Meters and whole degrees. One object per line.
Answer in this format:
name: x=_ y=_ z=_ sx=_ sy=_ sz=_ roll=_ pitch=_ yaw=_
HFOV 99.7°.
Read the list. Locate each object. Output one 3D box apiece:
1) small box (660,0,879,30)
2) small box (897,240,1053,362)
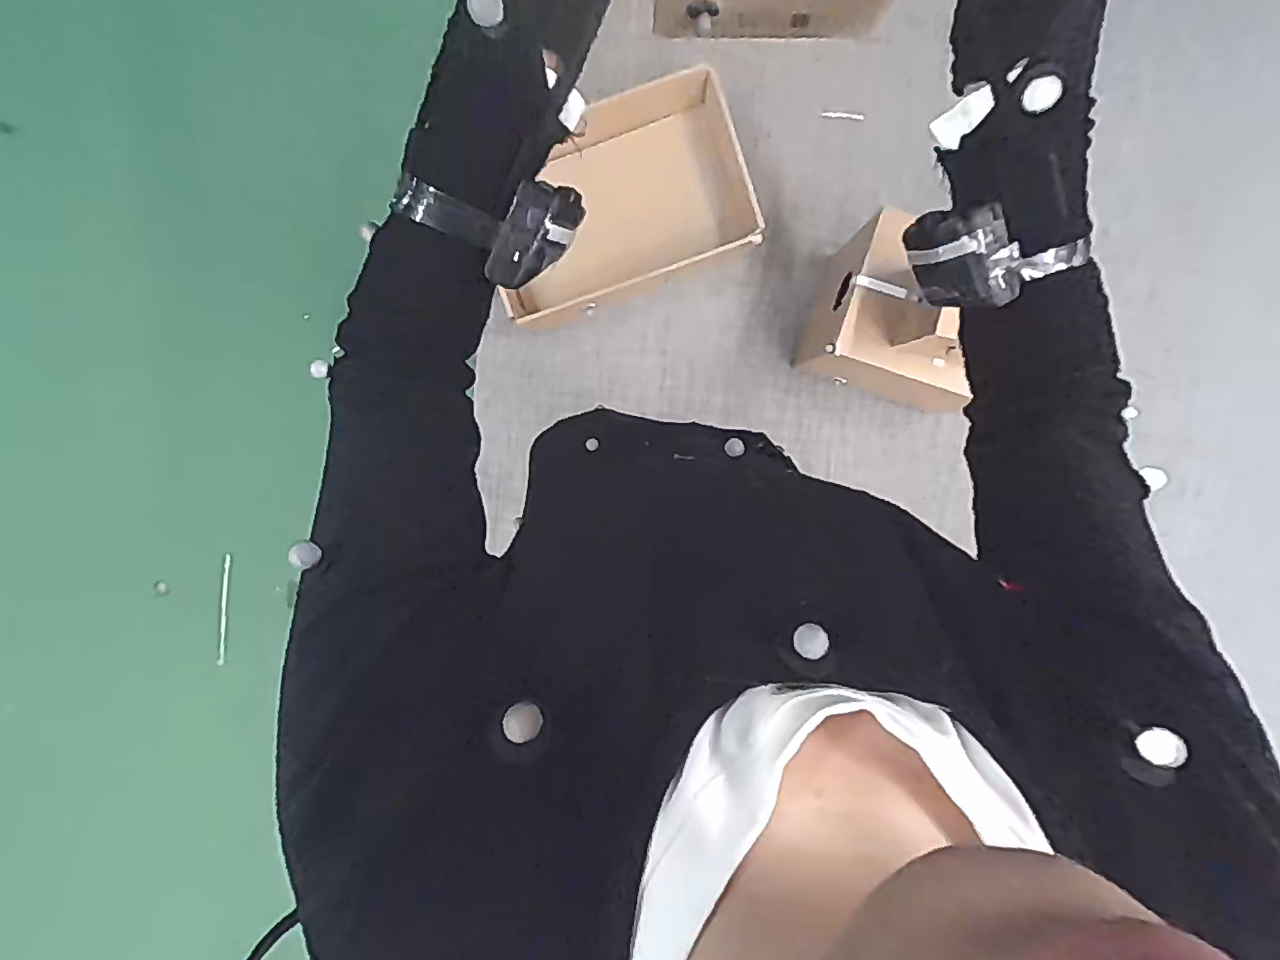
small box: x=0.089 y=-0.401 z=0.307 sx=0.168 sy=0.176 sz=0.179 roll=-1 pitch=98 yaw=-2
small box: x=0.620 y=-0.329 z=1.027 sx=0.179 sy=0.176 sz=0.168 roll=13 pitch=96 yaw=1
